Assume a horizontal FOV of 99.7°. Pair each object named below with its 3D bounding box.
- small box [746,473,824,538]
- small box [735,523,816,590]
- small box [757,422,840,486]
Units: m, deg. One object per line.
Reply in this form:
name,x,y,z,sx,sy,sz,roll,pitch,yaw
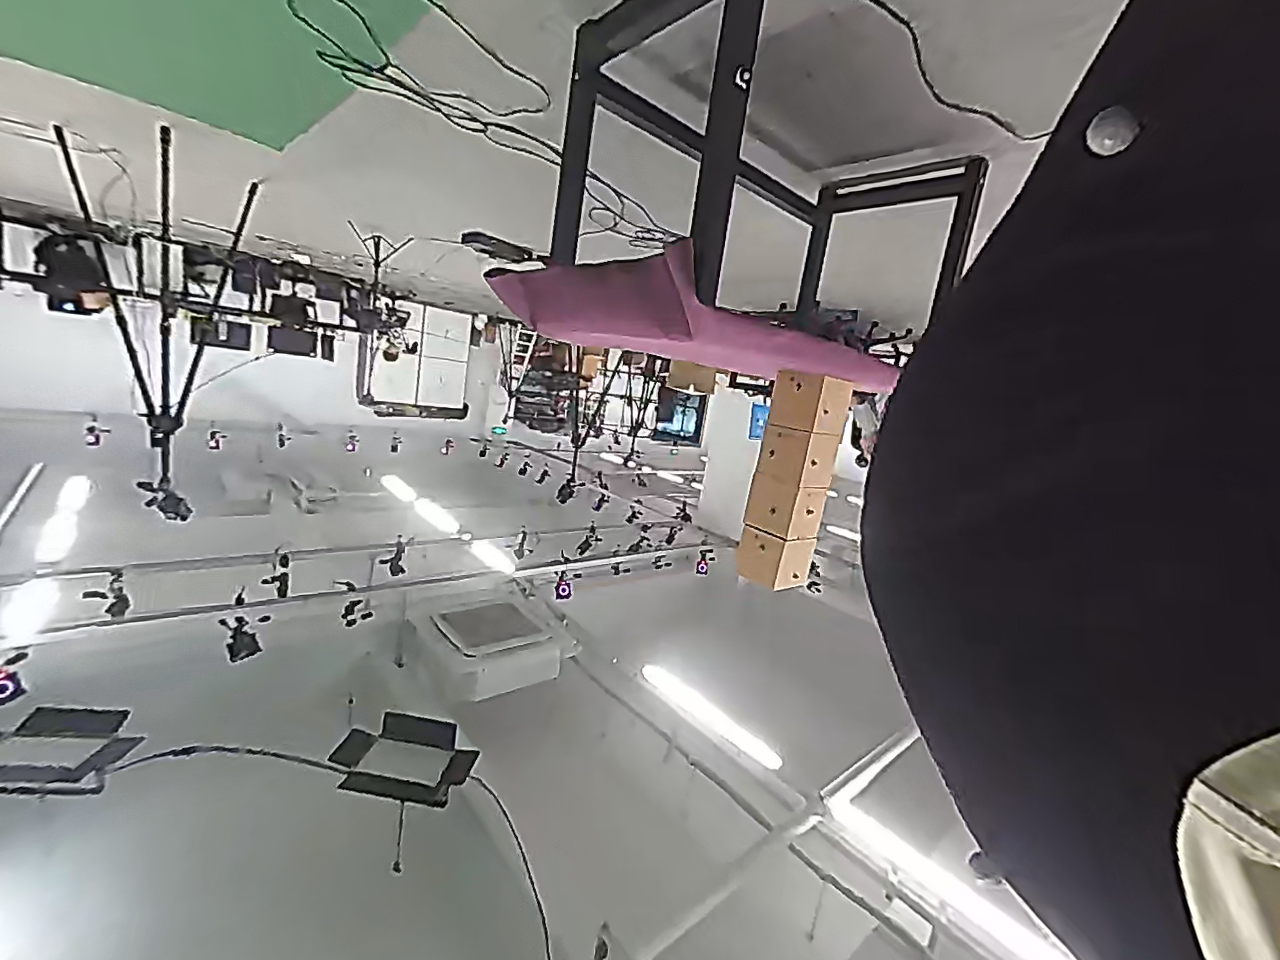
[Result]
small box,0.462,0.074,1.707,0.168,0.176,0.179,2,-168,-41
small box,0.437,0.234,1.732,0.179,0.176,0.168,2,-167,-40
small box,0.493,-0.083,1.673,0.179,0.176,0.168,0,-166,-42
